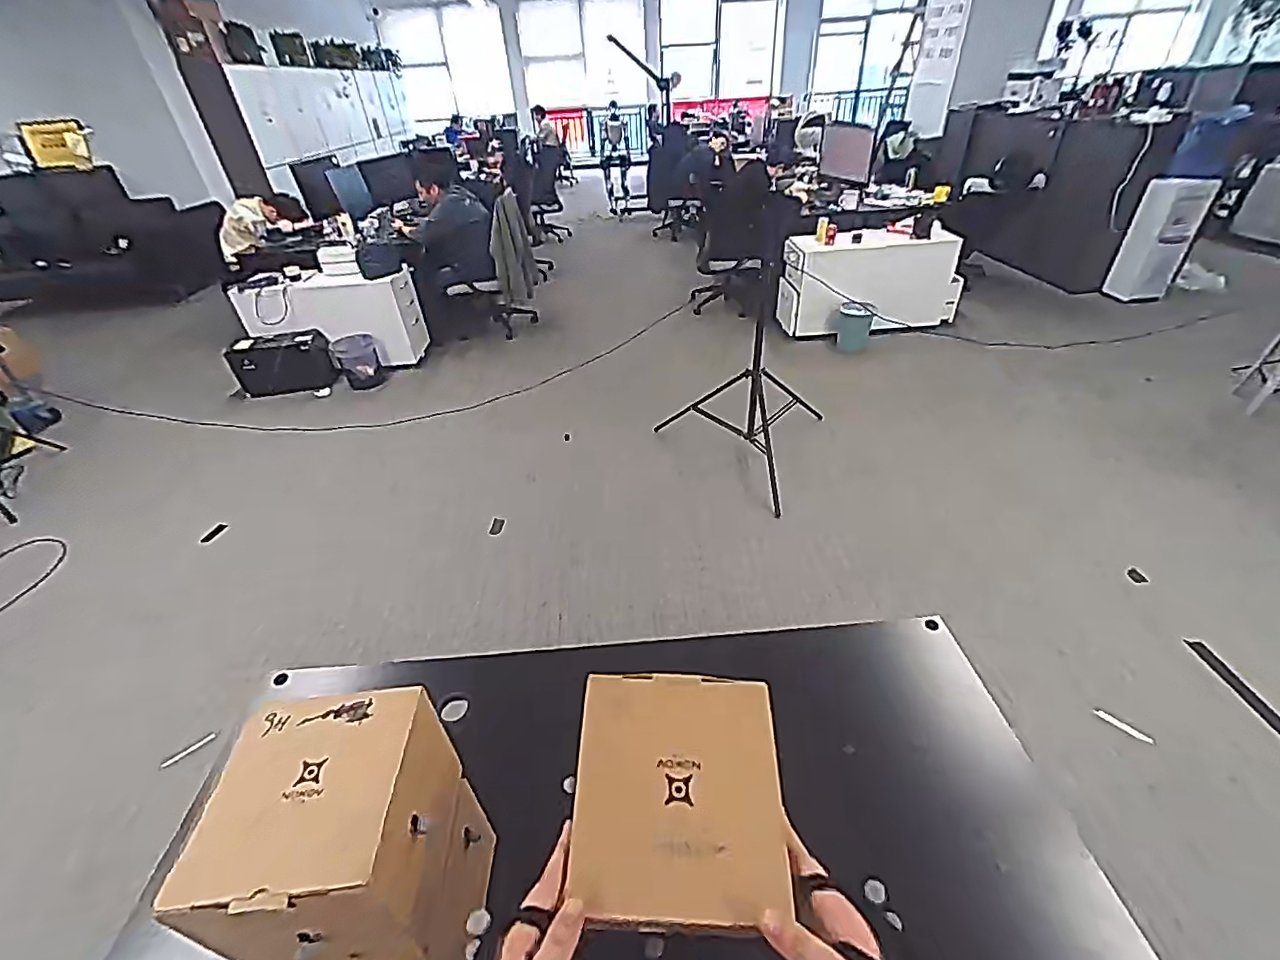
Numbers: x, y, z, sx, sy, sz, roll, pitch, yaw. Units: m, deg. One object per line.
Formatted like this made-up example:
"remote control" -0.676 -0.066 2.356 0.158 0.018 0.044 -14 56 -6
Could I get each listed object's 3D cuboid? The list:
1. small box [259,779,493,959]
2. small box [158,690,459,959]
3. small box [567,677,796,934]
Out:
"small box" -0.276 0.473 0.616 0.168 0.176 0.179 -4 36 1
"small box" -0.289 0.336 0.527 0.168 0.176 0.179 -5 37 -2
"small box" 0.030 0.298 0.494 0.168 0.176 0.179 1 51 0
